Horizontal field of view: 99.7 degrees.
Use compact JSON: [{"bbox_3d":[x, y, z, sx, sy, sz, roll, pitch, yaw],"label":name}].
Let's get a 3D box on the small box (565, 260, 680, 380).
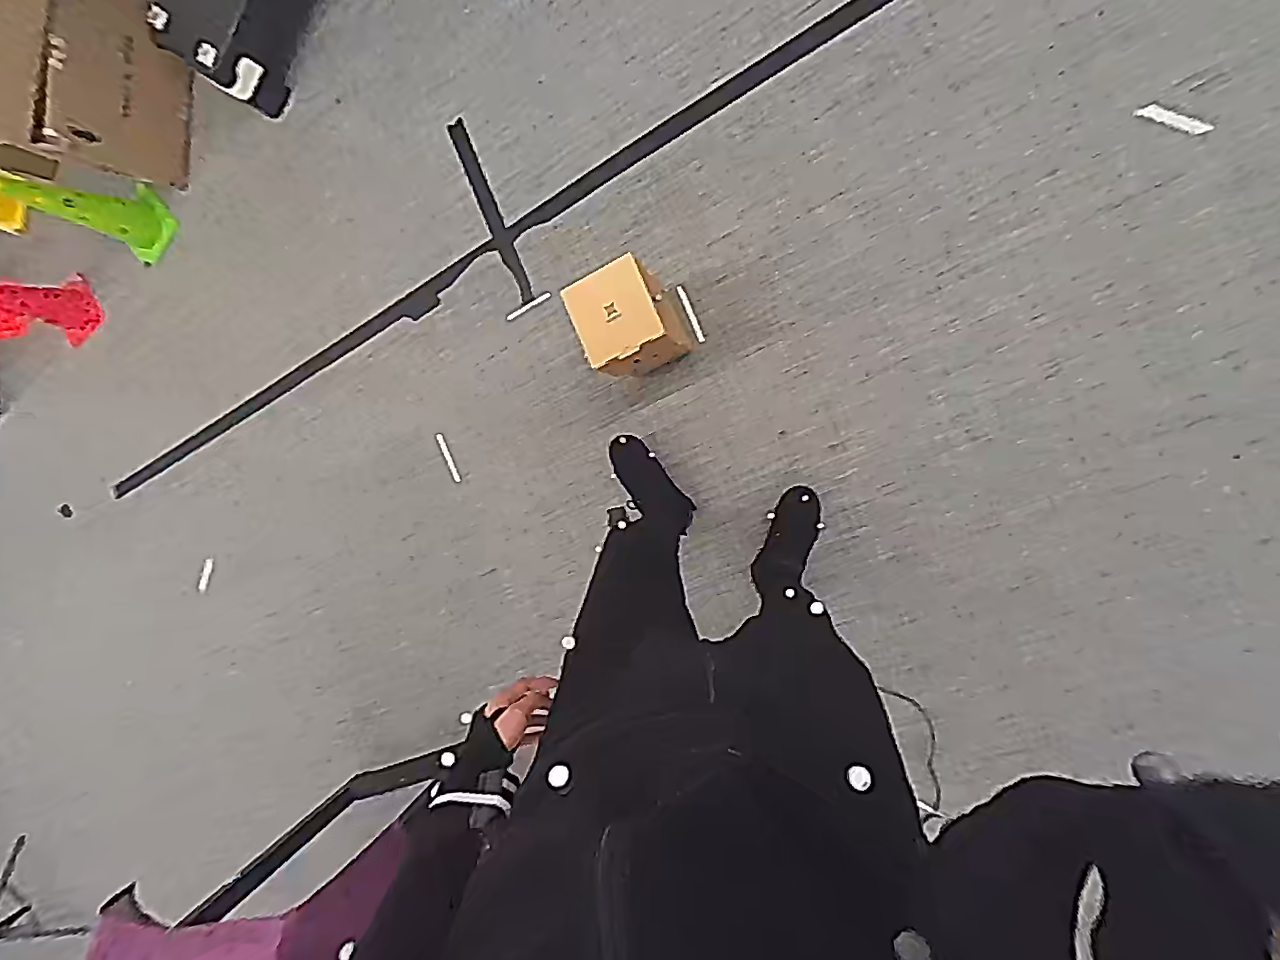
[{"bbox_3d":[-0.030,-0.328,1.150,0.168,0.176,0.179,-24,90,16],"label":"small box"}]
